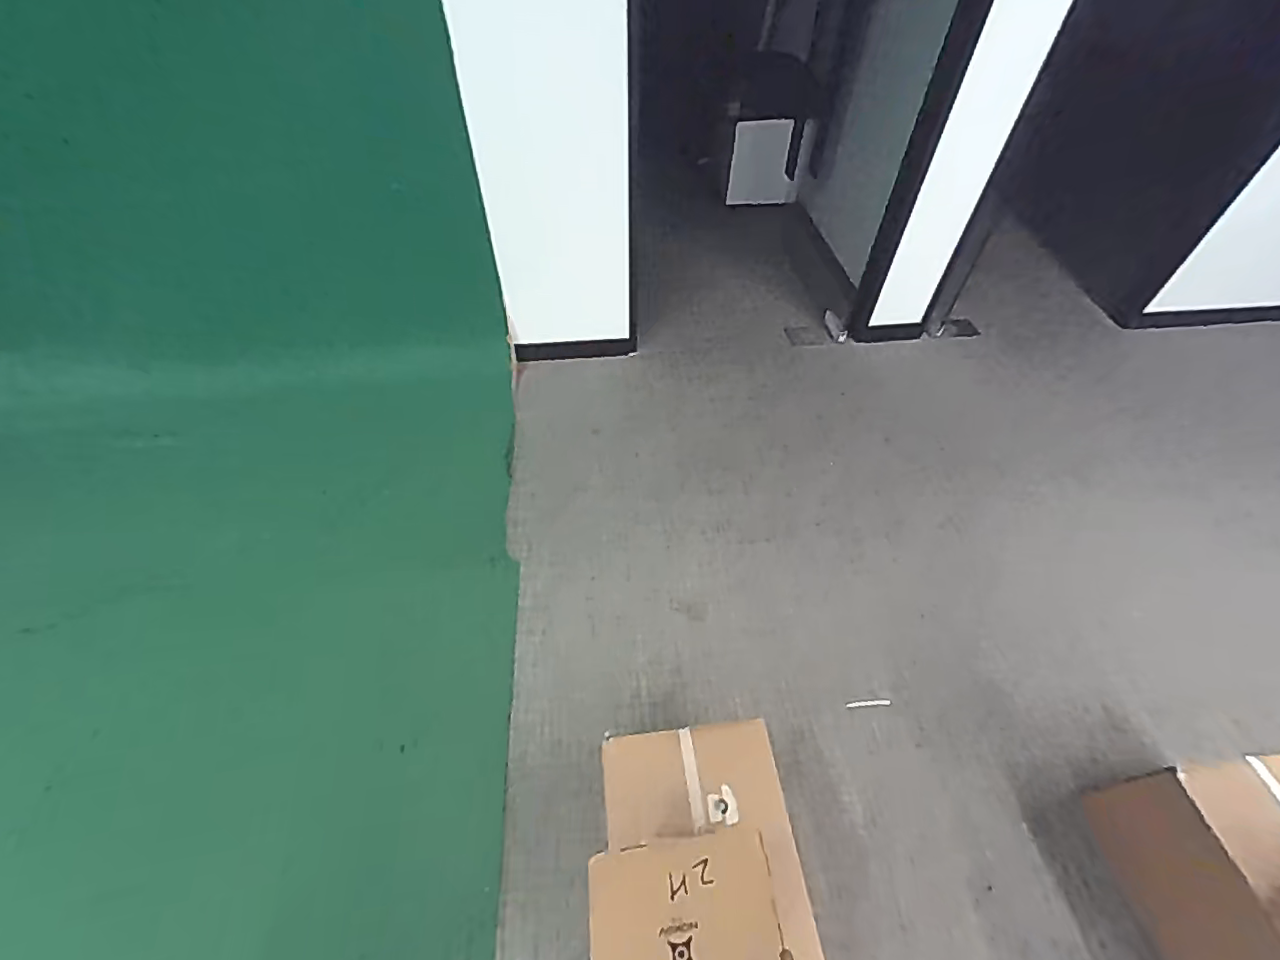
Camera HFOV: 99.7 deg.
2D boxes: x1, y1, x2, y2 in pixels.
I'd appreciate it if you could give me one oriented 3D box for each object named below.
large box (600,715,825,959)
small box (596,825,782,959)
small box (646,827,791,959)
[{"bbox_3d":[0.104,0.709,1.006,0.320,0.320,0.408,-5,50,-4],"label":"large box"},{"bbox_3d":[0.053,0.480,0.526,0.168,0.176,0.179,-9,30,-1],"label":"small box"},{"bbox_3d":[0.099,0.607,0.772,0.179,0.176,0.168,-4,50,-1],"label":"small box"}]
